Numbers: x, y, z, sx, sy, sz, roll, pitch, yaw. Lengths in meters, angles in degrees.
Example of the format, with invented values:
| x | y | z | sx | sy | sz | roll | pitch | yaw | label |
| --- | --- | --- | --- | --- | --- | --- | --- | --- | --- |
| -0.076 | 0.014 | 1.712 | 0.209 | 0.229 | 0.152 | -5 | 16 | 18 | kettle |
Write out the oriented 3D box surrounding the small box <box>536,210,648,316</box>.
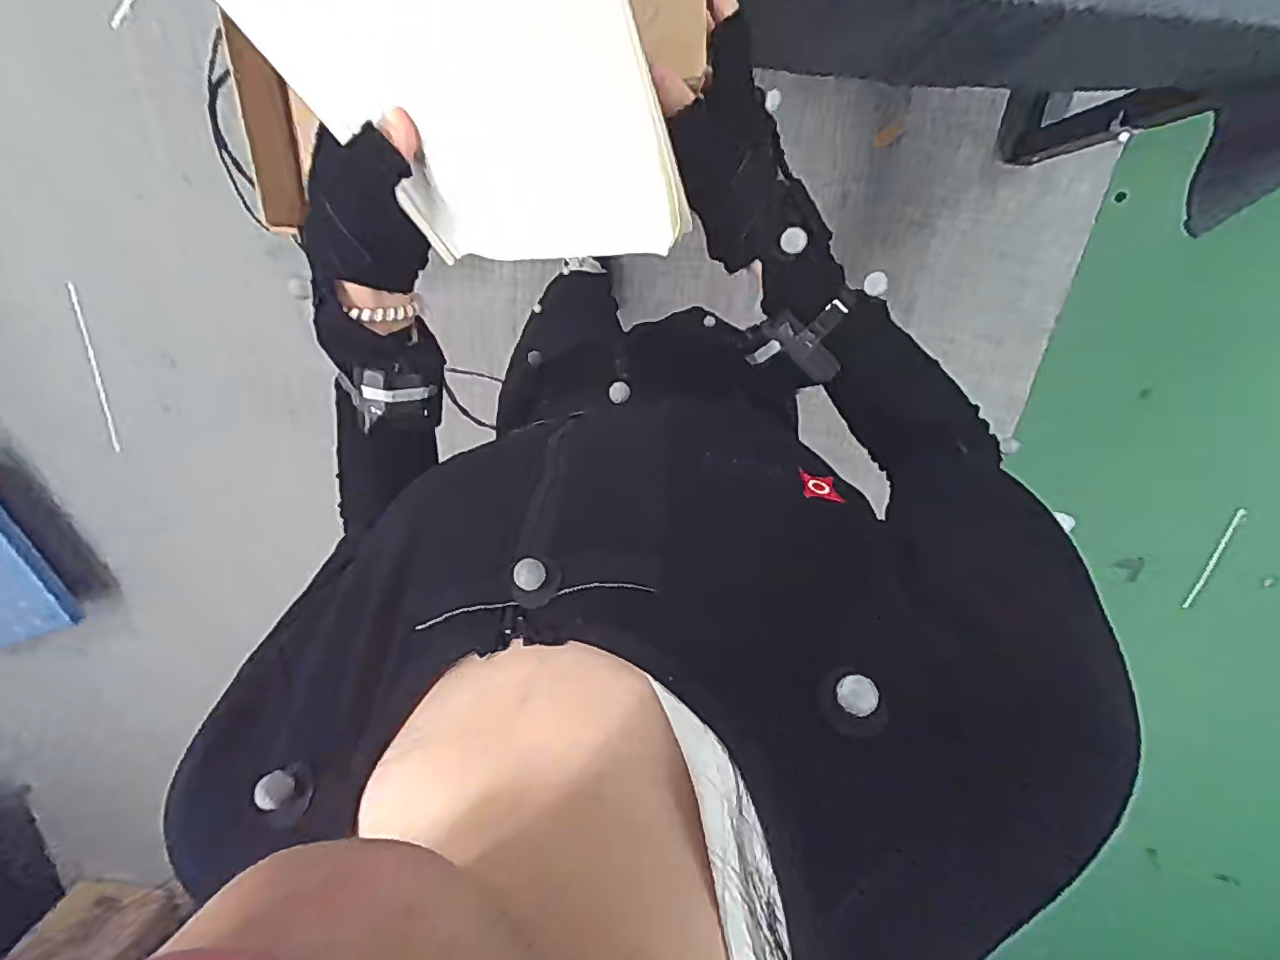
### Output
| x | y | z | sx | sy | sz | roll | pitch | yaw | label |
| --- | --- | --- | --- | --- | --- | --- | --- | --- | --- |
| -0.120 | -0.505 | 1.266 | 0.179 | 0.176 | 0.168 | 45 | 122 | 8 | small box |
